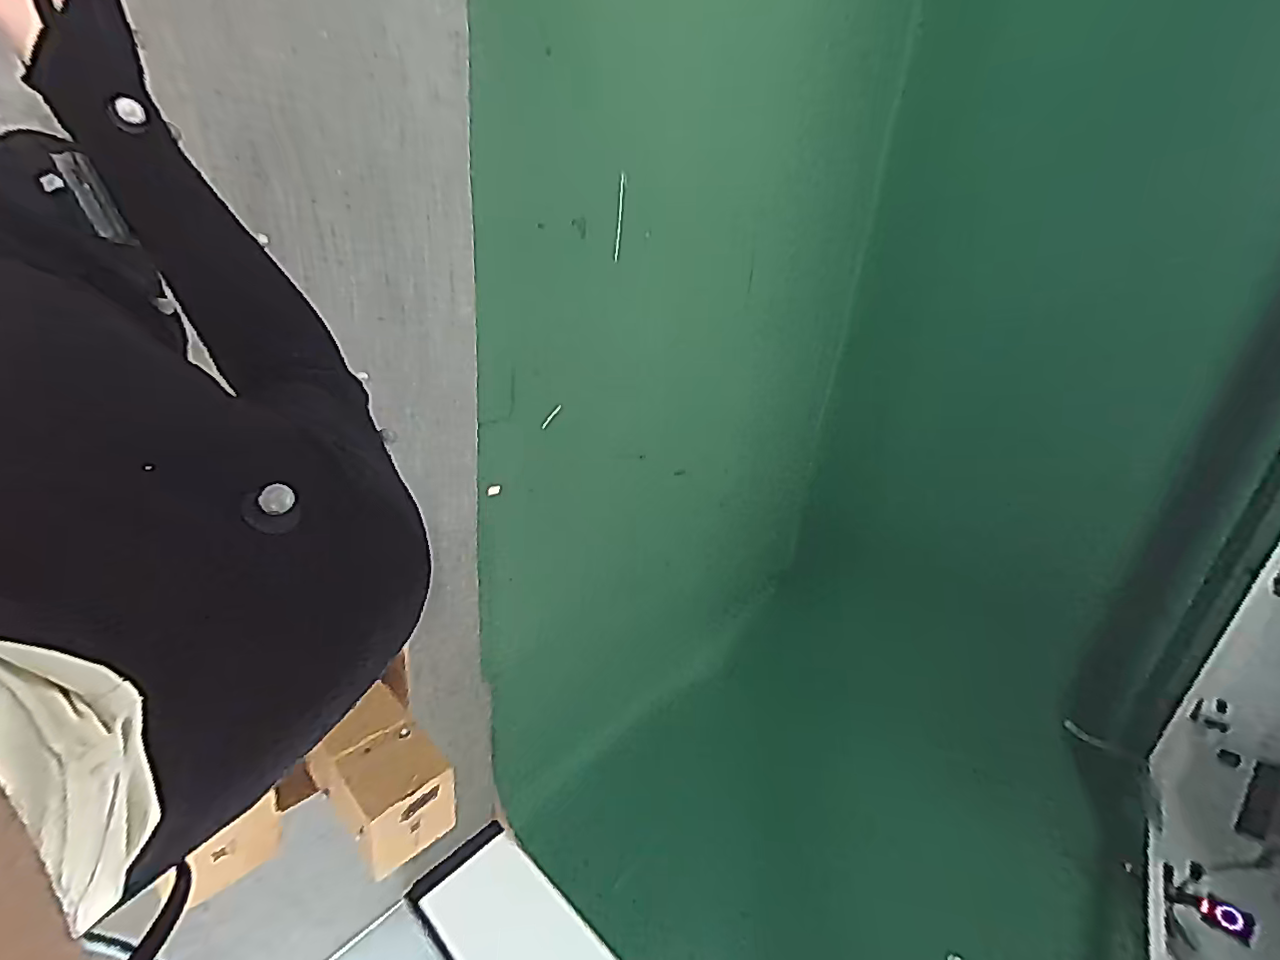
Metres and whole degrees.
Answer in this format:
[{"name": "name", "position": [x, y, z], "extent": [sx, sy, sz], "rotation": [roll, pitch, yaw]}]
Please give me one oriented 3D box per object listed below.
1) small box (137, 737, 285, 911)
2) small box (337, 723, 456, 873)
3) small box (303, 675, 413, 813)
[{"name": "small box", "position": [-0.793, 0.622, 1.005], "extent": [0.179, 0.176, 0.168], "rotation": [-15, 119, -46]}, {"name": "small box", "position": [-0.495, 0.629, 1.101], "extent": [0.168, 0.176, 0.179], "rotation": [-19, 124, -45]}, {"name": "small box", "position": [-0.618, 0.570, 1.192], "extent": [0.168, 0.176, 0.179], "rotation": [-17, 122, -46]}]
